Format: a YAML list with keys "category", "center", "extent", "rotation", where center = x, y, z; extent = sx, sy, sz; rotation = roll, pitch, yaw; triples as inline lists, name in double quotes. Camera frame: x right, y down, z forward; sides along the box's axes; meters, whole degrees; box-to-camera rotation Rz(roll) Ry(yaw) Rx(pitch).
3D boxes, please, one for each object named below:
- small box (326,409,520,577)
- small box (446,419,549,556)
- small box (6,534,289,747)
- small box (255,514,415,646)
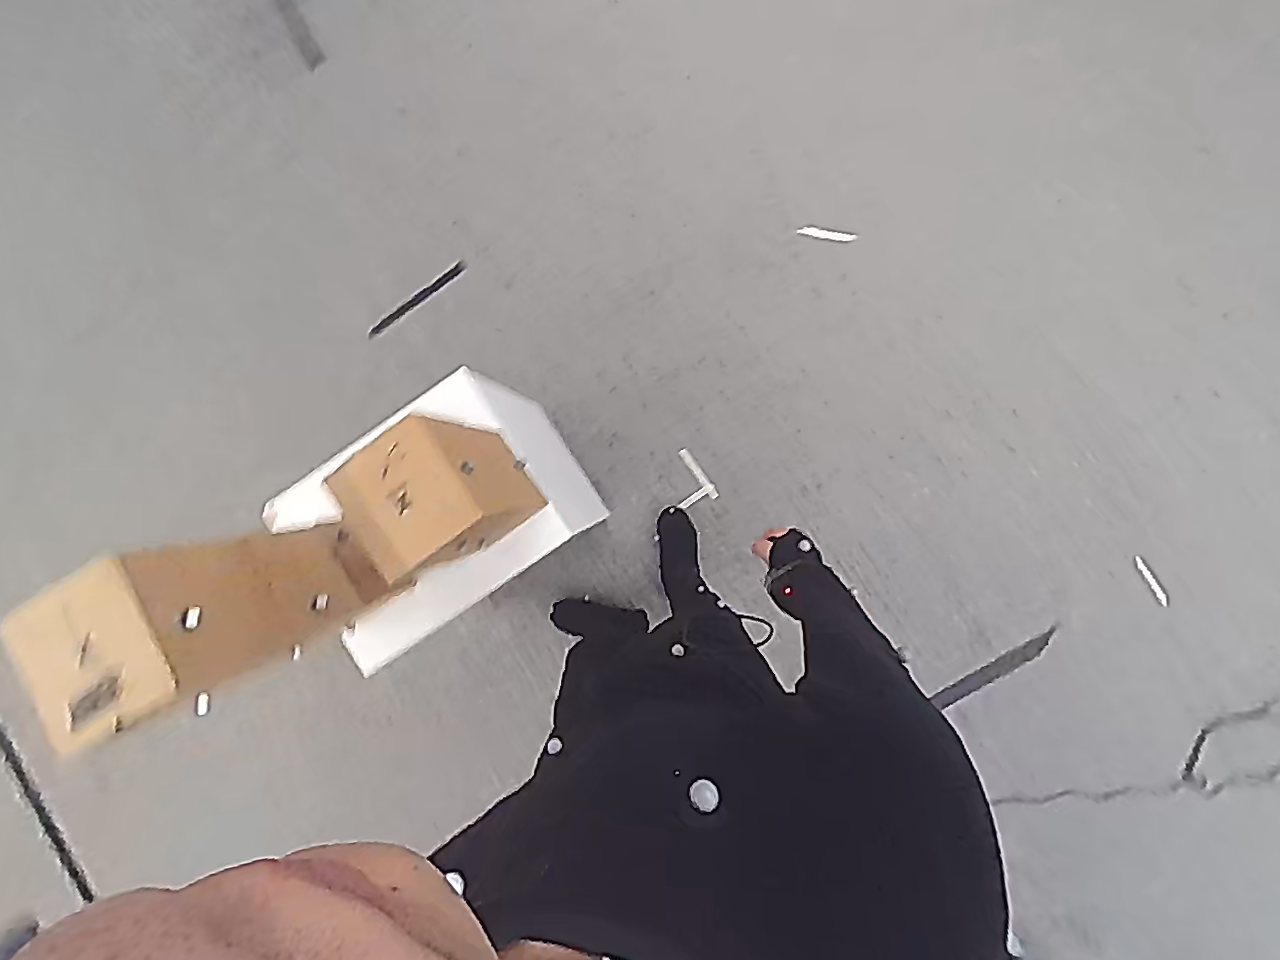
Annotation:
- category: "small box"
  center: [-0.308, 0.016, 0.807]
  extent: [0.168, 0.176, 0.179]
  rotation: [-34, 87, 5]
- category: "small box"
  center: [-0.292, 0.013, 0.972]
  extent: [0.168, 0.176, 0.179]
  rotation: [-35, 87, 6]
- category: "small box"
  center: [-0.589, 0.183, 0.673]
  extent: [0.168, 0.176, 0.179]
  rotation: [-29, 87, 5]
- category: "small box"
  center: [-0.556, 0.170, 1.000]
  extent: [0.168, 0.176, 0.179]
  rotation: [-32, 87, 4]
